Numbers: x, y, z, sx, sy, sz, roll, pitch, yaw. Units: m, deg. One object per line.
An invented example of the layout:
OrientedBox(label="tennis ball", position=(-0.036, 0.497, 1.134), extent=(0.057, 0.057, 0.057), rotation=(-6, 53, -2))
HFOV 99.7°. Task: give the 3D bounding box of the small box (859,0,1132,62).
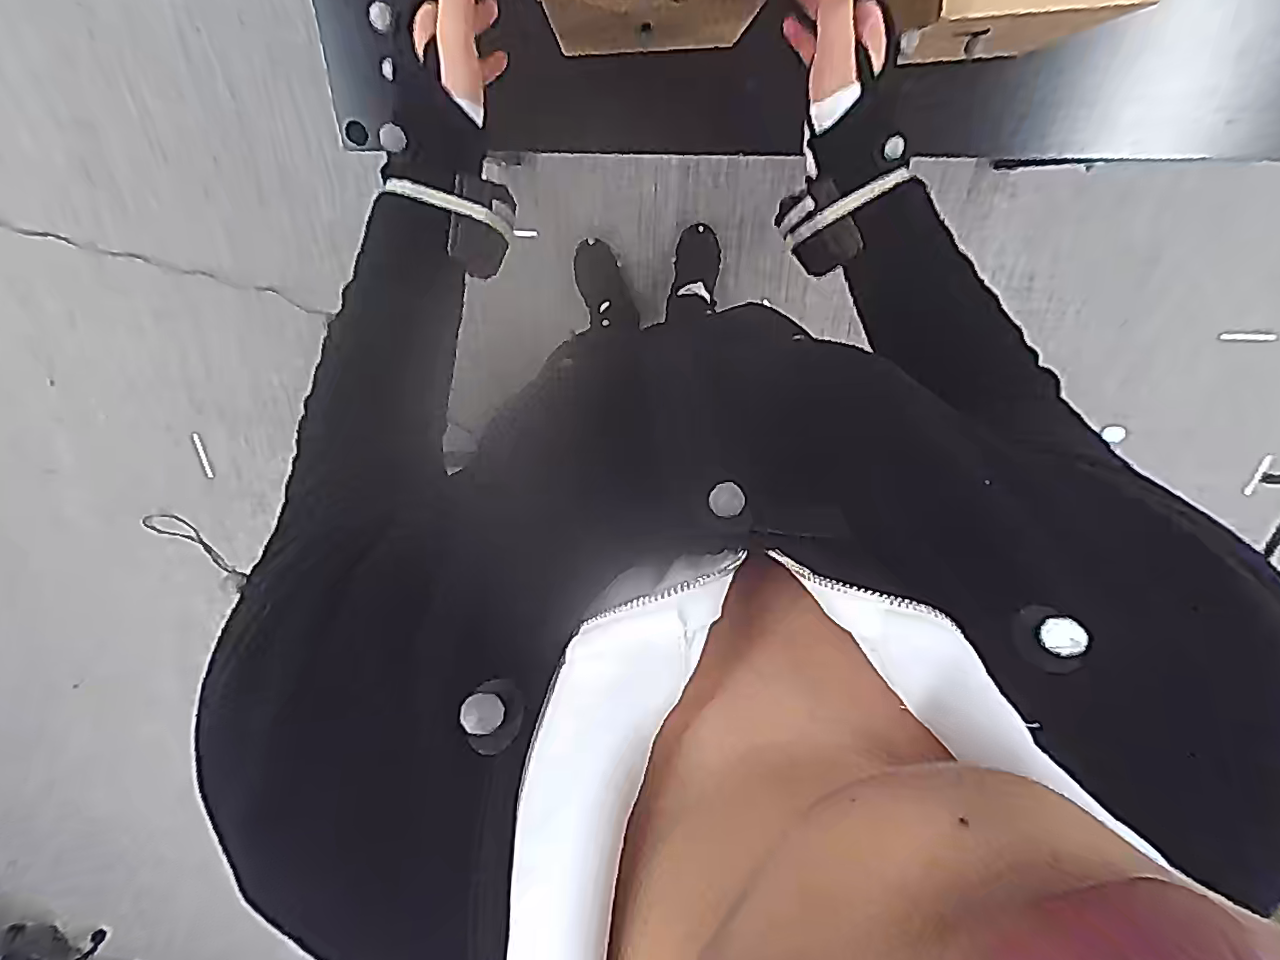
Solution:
OrientedBox(label="small box", position=(0.303, -0.474, 0.453), extent=(0.179, 0.176, 0.168), rotation=(-4, 117, 1))

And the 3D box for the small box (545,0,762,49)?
OrientedBox(label="small box", position=(0.007, -0.476, 0.441), extent=(0.179, 0.176, 0.168), rotation=(-3, 117, 1))
